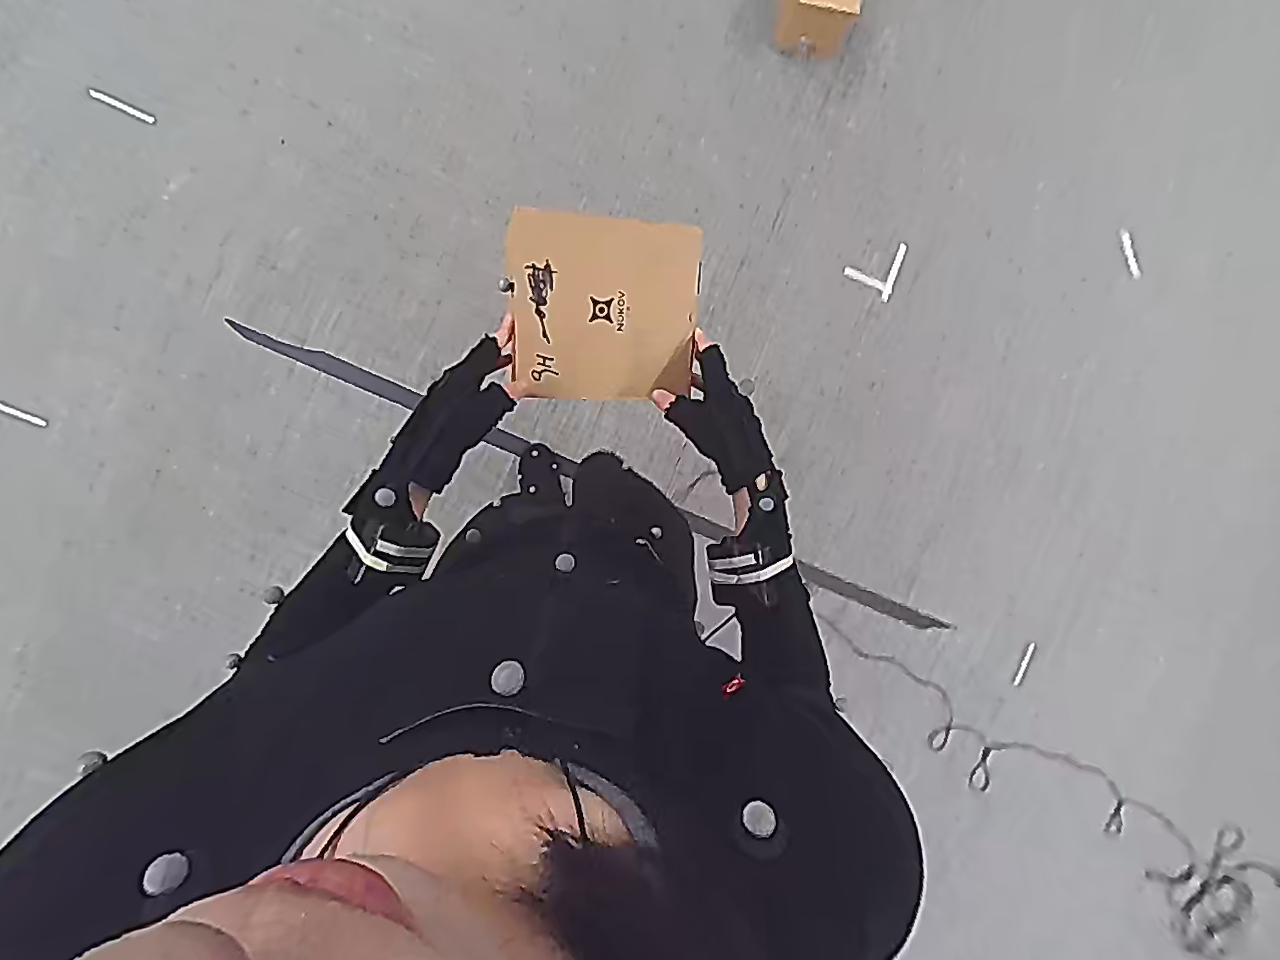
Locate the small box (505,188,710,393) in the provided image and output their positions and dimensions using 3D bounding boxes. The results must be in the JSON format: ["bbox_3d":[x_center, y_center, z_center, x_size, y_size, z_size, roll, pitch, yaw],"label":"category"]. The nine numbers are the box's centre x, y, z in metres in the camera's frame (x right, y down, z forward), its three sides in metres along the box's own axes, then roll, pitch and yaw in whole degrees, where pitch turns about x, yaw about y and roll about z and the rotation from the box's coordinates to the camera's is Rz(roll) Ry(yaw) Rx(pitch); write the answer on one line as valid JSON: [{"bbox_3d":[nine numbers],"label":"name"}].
[{"bbox_3d":[-0.046,-0.187,0.568,0.179,0.176,0.168,0,105,-17],"label":"small box"}]

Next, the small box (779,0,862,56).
[{"bbox_3d":[0.482,-1.298,1.450,0.168,0.176,0.179,4,93,-6],"label":"small box"}]
